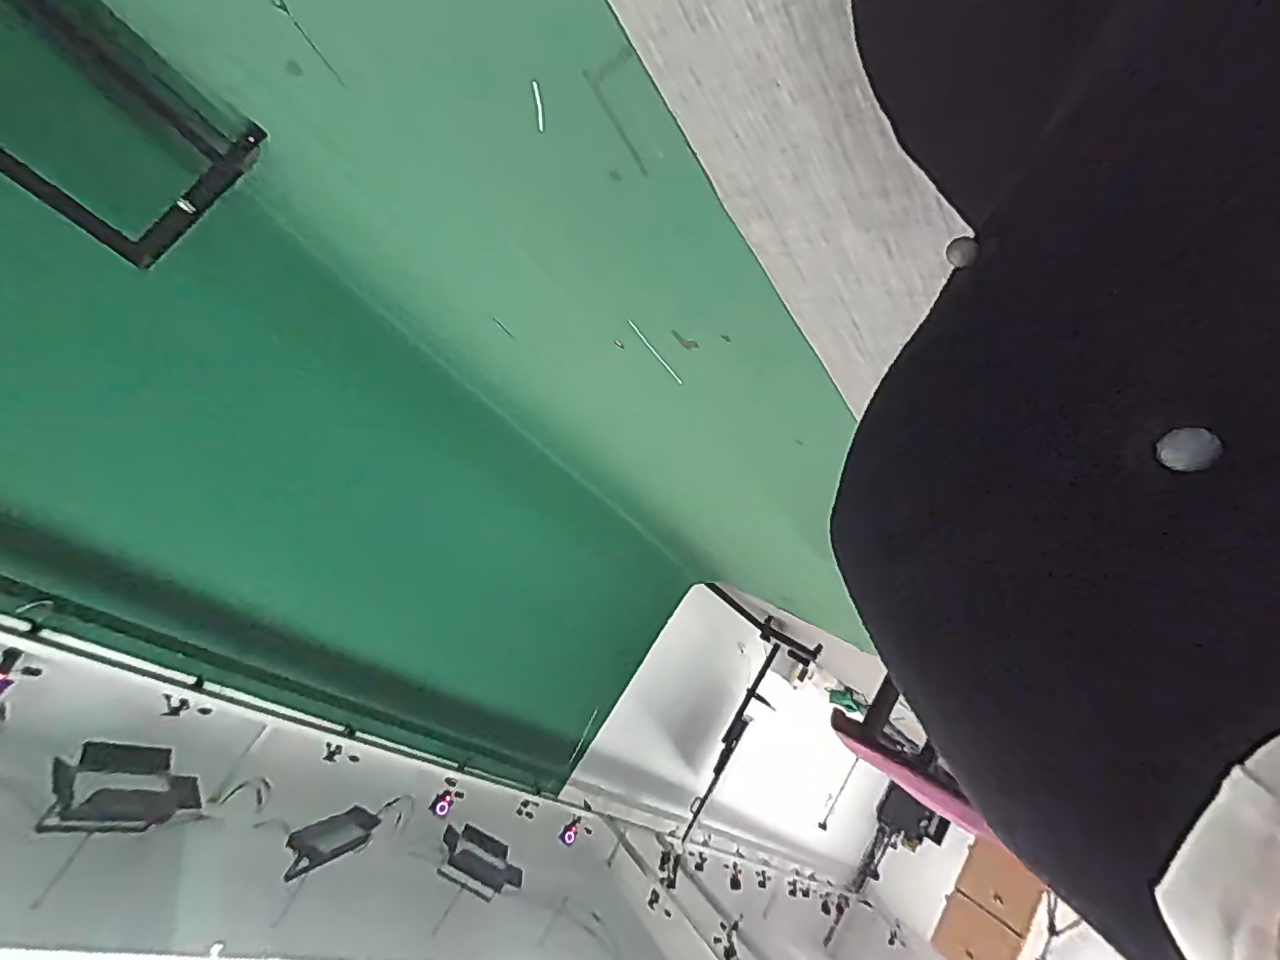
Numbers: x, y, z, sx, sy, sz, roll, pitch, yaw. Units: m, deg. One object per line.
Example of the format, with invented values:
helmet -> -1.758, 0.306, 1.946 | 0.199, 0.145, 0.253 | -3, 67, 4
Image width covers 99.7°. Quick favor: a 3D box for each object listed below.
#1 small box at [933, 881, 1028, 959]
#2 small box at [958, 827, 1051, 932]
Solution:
small box -> 0.949, 1.258, 1.498 | 0.179, 0.176, 0.168 | 22, 162, 47
small box -> 1.039, 1.128, 1.534 | 0.179, 0.176, 0.168 | 23, 164, 46
